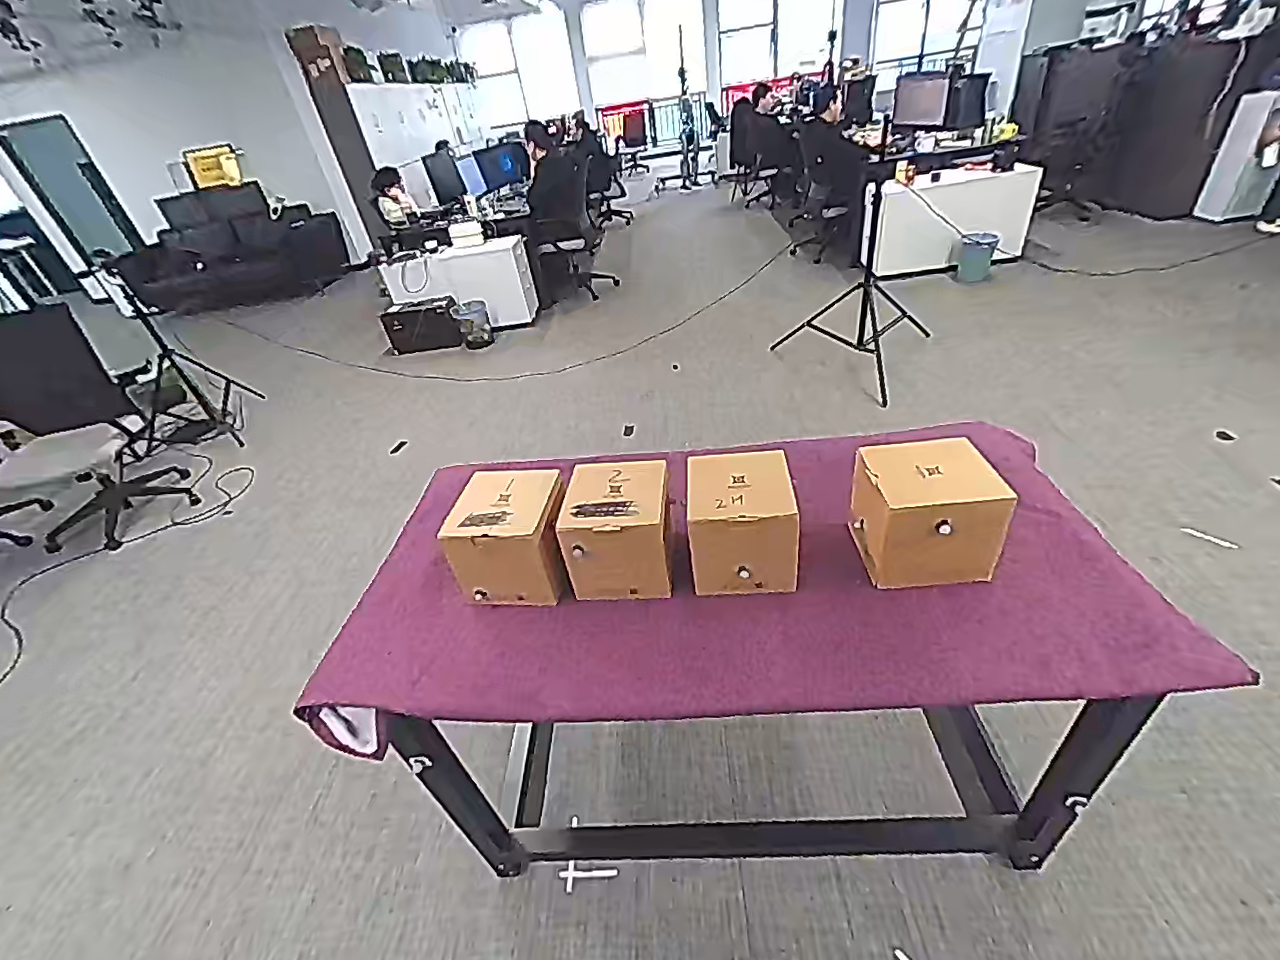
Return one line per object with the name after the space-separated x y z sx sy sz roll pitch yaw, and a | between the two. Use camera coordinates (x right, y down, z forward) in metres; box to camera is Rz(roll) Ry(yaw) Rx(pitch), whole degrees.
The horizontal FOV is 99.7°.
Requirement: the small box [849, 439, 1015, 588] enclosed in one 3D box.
0.452 0.055 0.871 0.179 0.176 0.168 -6 34 6 | small box
